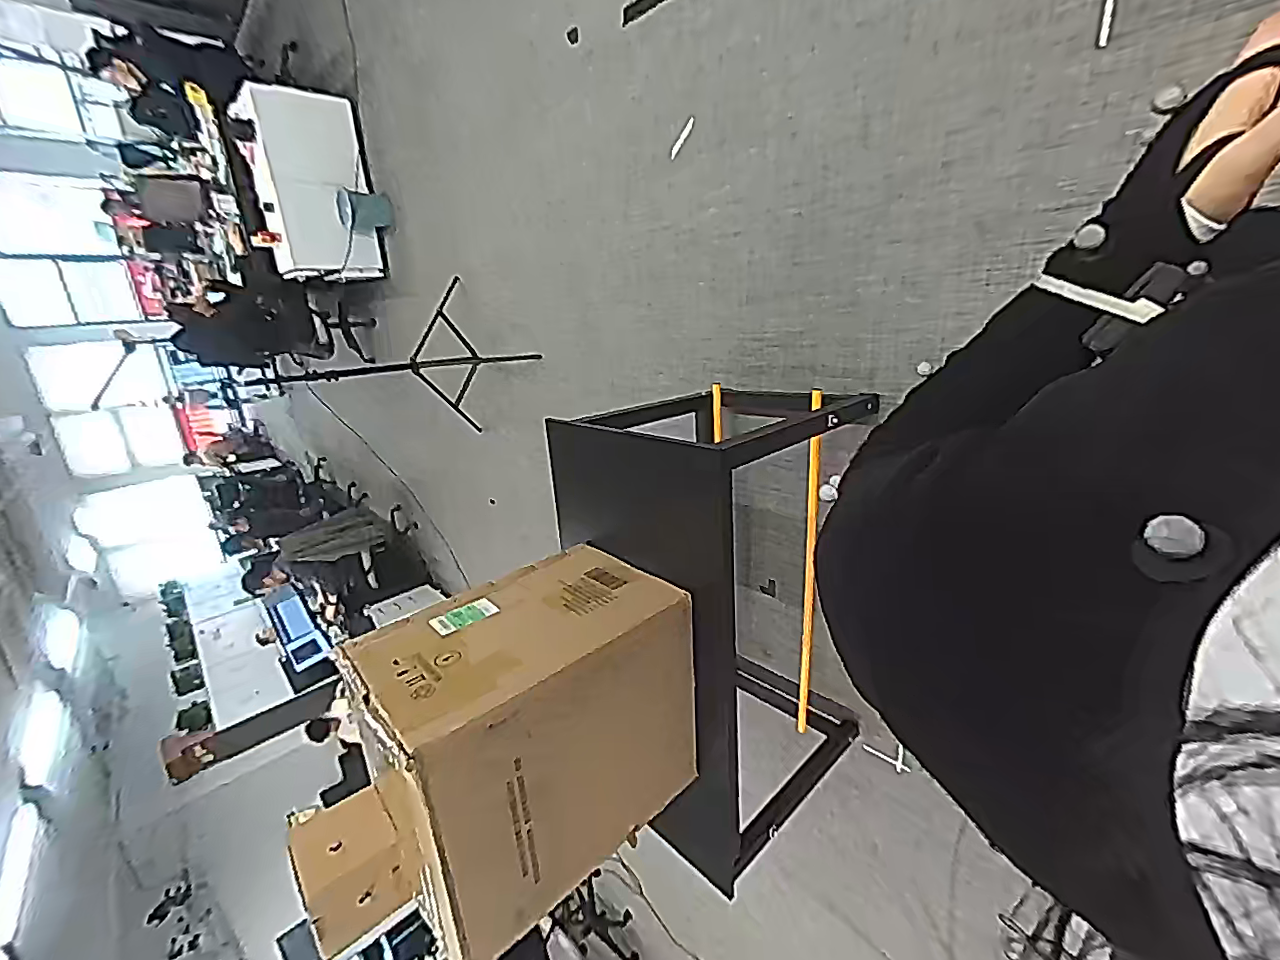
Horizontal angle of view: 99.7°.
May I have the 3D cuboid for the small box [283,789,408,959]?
[{"bbox_3d":[-0.574,0.762,1.069,0.179,0.176,0.168,18,117,46],"label":"small box"}]
